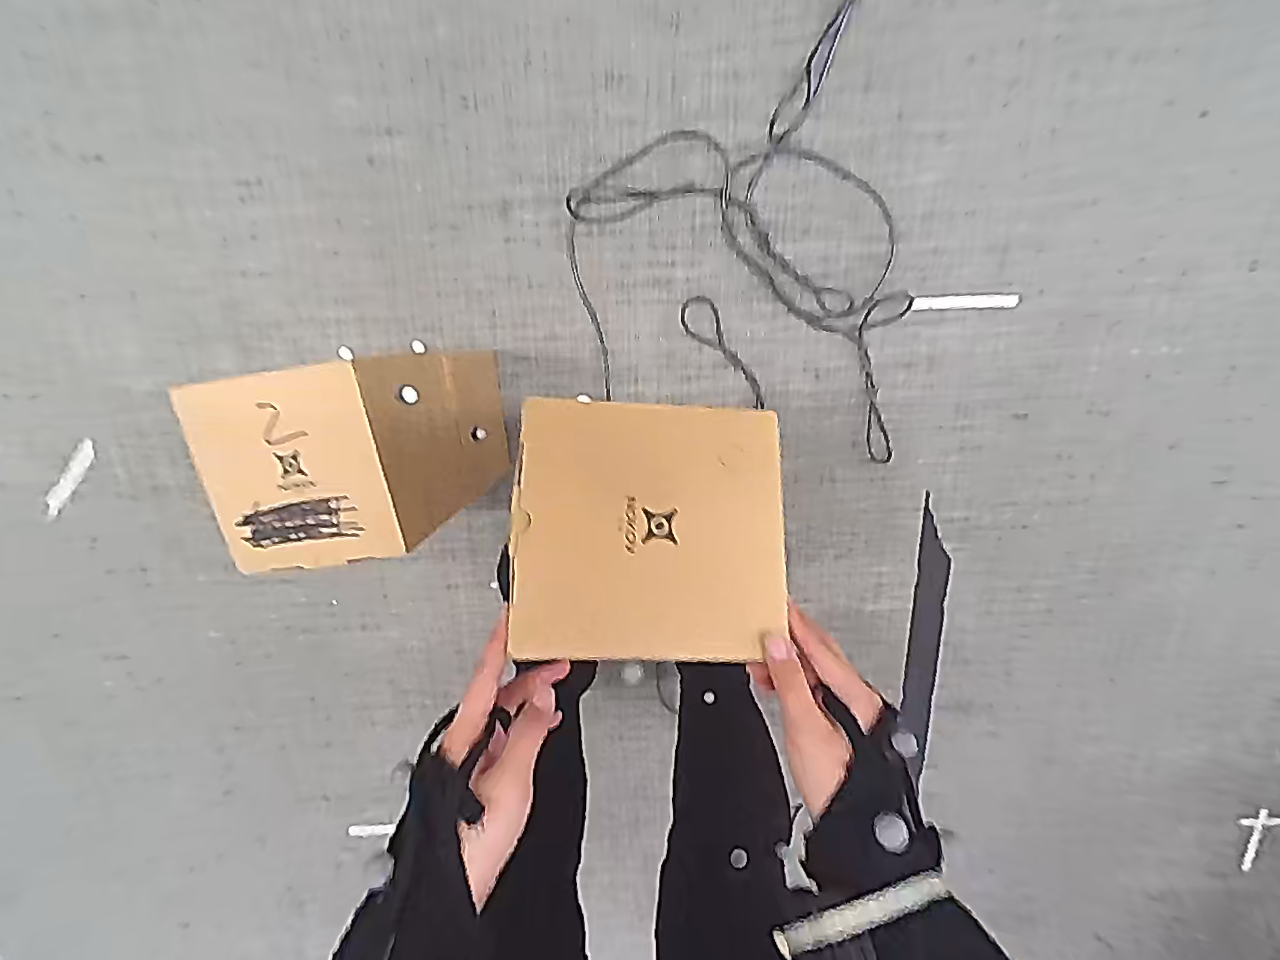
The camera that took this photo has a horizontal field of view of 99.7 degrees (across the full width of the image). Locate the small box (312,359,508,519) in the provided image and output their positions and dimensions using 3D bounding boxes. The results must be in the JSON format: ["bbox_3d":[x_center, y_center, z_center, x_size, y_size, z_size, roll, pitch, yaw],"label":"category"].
[{"bbox_3d":[-0.282,-0.061,0.707,0.168,0.176,0.179,-4,105,3],"label":"small box"}]

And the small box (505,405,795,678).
[{"bbox_3d":[0.001,0.054,0.413,0.179,0.176,0.168,3,76,-6],"label":"small box"}]
